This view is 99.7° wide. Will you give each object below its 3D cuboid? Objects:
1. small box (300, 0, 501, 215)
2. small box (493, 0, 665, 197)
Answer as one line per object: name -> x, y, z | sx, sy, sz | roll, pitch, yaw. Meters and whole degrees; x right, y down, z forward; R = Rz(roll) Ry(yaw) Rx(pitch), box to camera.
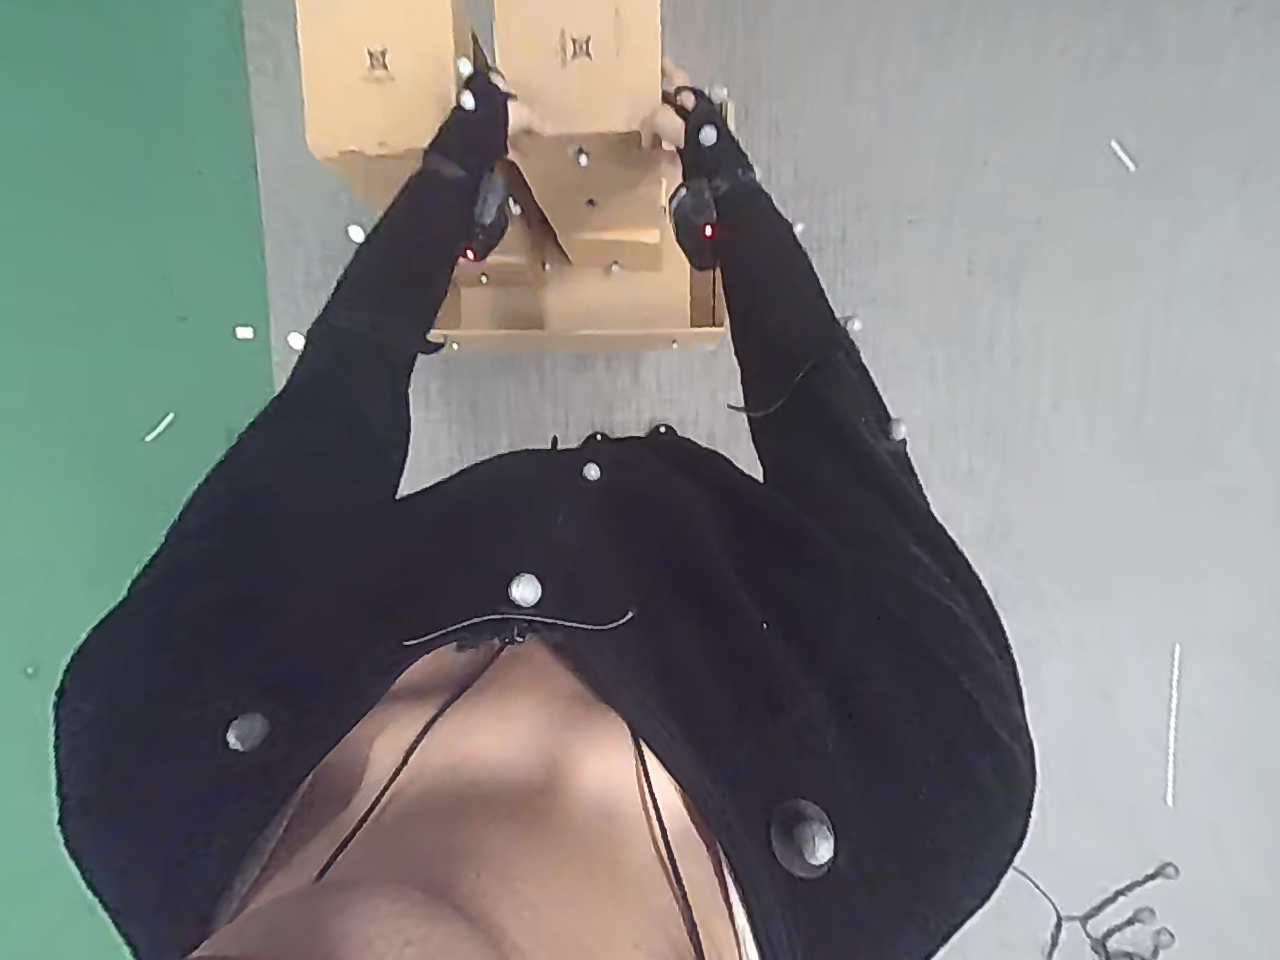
small box -> -0.272, -0.444, 0.651 | 0.168, 0.176, 0.179 | -2, 95, 2
small box -> -0.061, -0.453, 0.638 | 0.179, 0.176, 0.168 | -1, 97, 3
